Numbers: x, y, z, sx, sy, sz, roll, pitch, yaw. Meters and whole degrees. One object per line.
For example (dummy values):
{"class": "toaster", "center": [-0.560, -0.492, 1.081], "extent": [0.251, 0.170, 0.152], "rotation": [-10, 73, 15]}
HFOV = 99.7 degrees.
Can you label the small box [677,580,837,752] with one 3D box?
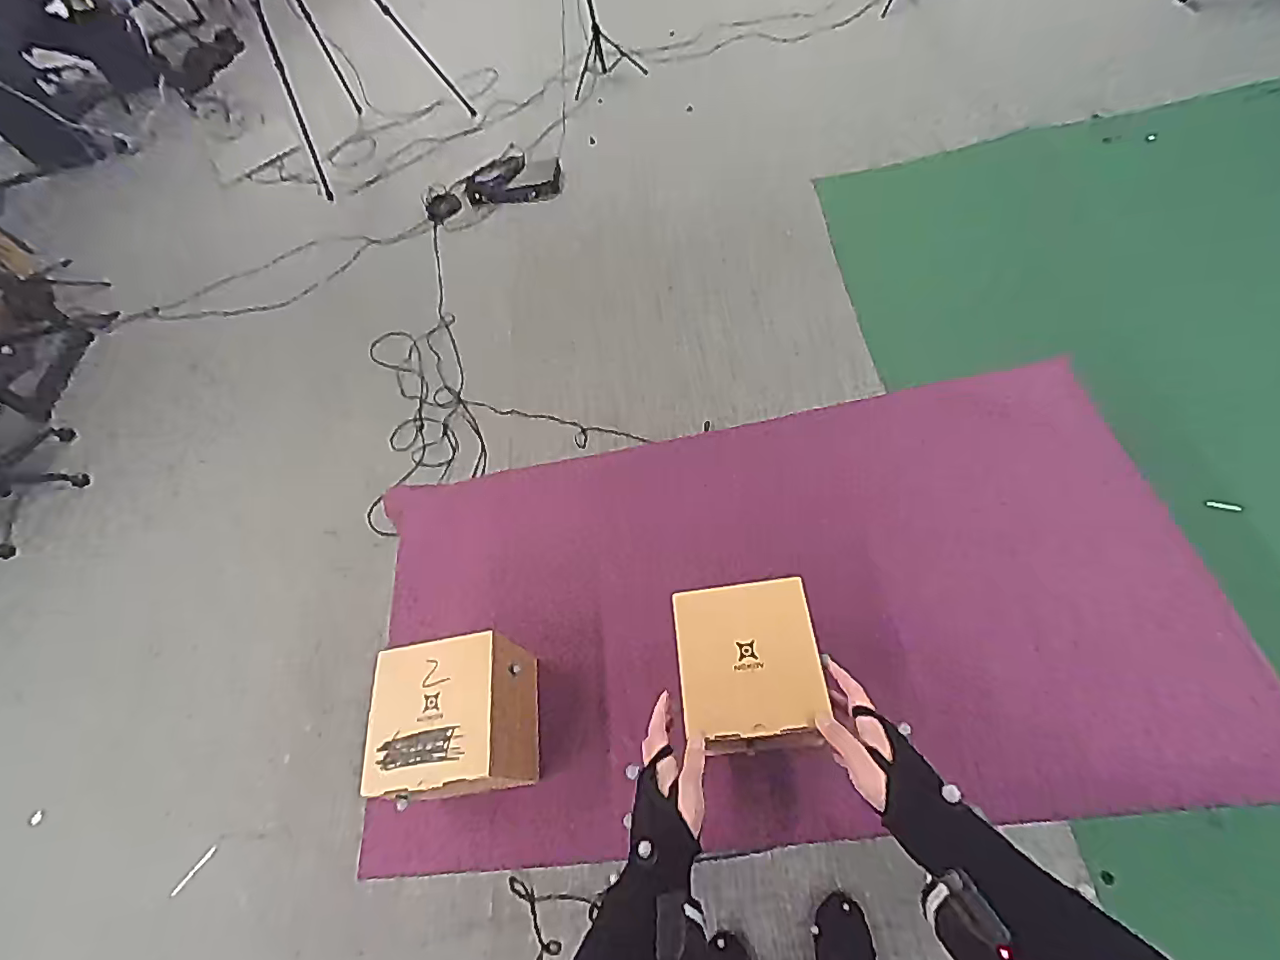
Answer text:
{"class": "small box", "center": [0.144, 0.249, 0.710], "extent": [0.168, 0.176, 0.179], "rotation": [-9, 60, 7]}
